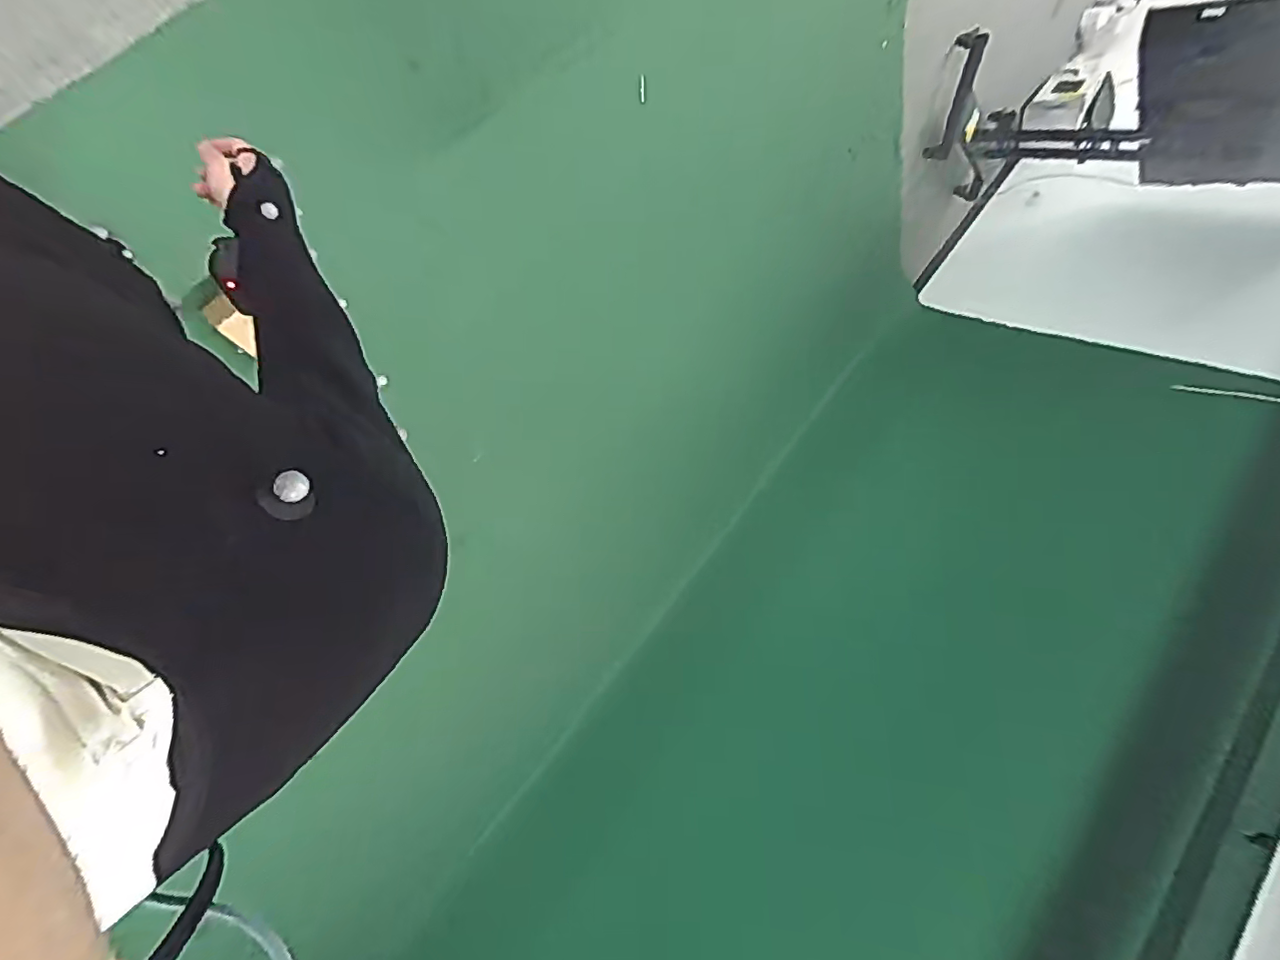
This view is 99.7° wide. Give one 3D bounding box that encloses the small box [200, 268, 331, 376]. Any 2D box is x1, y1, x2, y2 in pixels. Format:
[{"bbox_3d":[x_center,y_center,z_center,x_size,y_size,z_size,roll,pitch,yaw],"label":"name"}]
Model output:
[{"bbox_3d":[-0.893,-0.381,1.285,0.168,0.176,0.179,-51,143,-12],"label":"small box"}]
